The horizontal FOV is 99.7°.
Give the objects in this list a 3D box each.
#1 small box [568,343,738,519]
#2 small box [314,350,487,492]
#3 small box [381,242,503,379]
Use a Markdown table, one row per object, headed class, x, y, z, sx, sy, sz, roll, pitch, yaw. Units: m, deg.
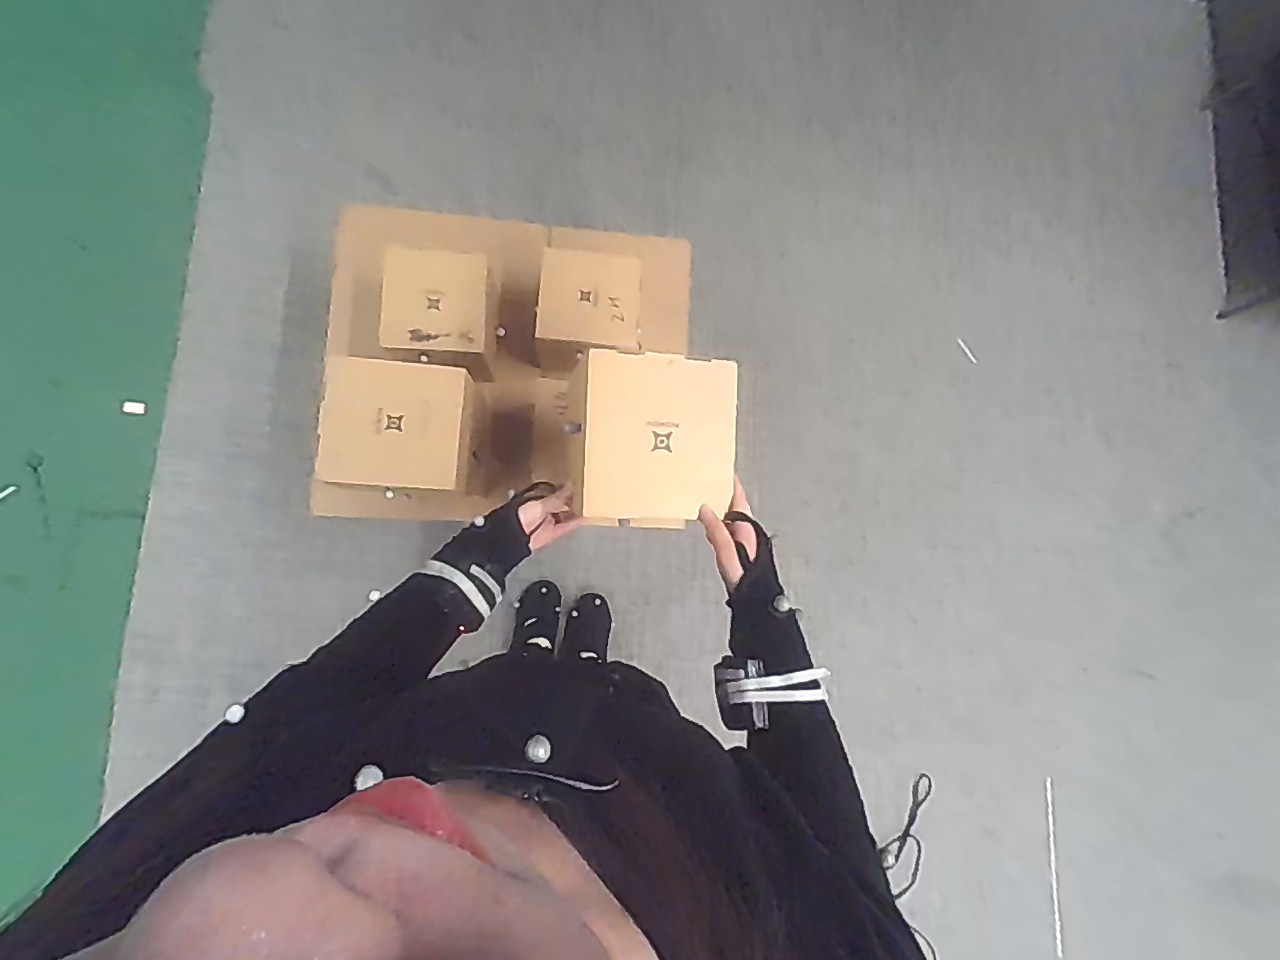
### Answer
| class | x | y | z | sx | sy | sz | roll | pitch | yaw |
| --- | --- | --- | --- | --- | --- | --- | --- | --- | --- |
| small box | 0.005 | -0.050 | 0.639 | 0.168 | 0.176 | 0.179 | 2 | 90 | -12 |
| small box | -0.330 | -0.074 | 0.779 | 0.179 | 0.176 | 0.168 | 5 | 85 | -7 |
| small box | -0.341 | -0.294 | 0.966 | 0.168 | 0.176 | 0.179 | 2 | 82 | -6 |
